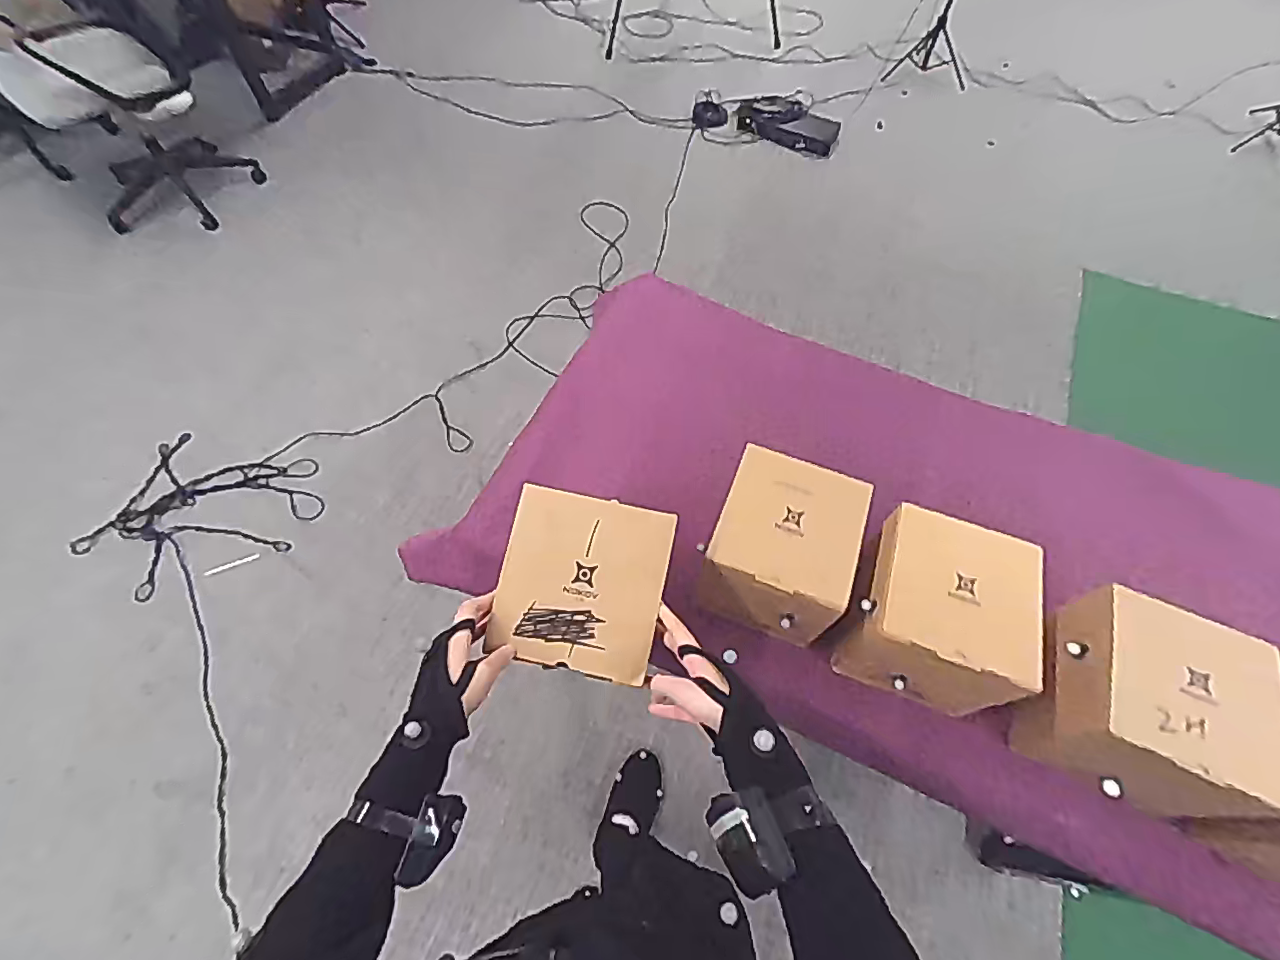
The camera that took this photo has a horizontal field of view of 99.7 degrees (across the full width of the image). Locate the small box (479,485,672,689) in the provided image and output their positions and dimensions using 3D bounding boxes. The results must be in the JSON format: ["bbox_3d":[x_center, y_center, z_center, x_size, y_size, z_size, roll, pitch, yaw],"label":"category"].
[{"bbox_3d":[-0.062,0.118,0.619,0.168,0.176,0.179,12,80,2],"label":"small box"}]
